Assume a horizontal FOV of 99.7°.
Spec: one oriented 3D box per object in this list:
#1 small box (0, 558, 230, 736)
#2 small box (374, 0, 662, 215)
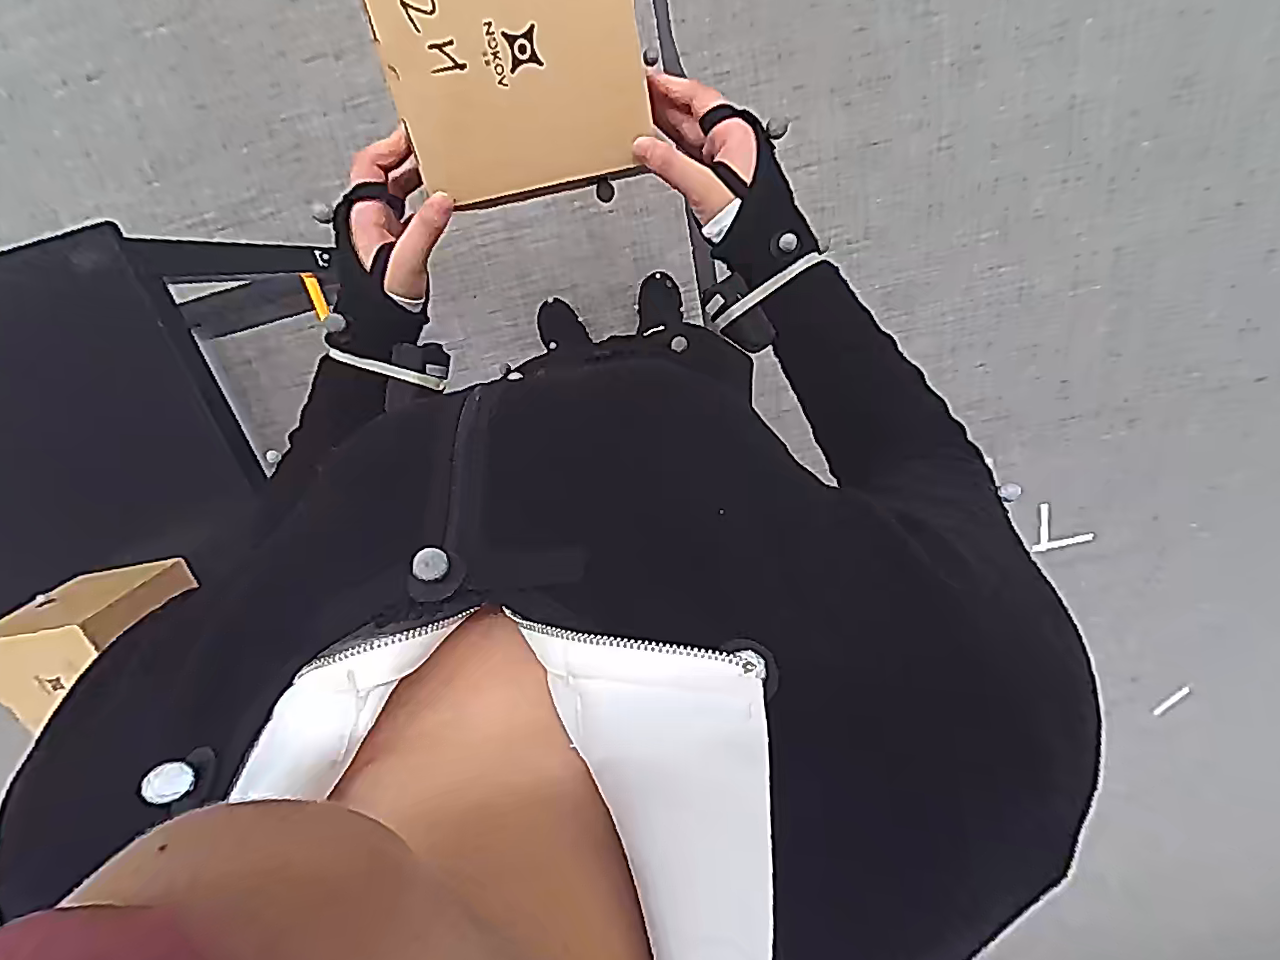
[{"bbox_3d":[-0.758,0.233,0.781,0.179,0.176,0.168,-11,112,4],"label":"small box"},{"bbox_3d":[-0.083,-0.325,0.442,0.179,0.176,0.168,-9,117,5],"label":"small box"}]
